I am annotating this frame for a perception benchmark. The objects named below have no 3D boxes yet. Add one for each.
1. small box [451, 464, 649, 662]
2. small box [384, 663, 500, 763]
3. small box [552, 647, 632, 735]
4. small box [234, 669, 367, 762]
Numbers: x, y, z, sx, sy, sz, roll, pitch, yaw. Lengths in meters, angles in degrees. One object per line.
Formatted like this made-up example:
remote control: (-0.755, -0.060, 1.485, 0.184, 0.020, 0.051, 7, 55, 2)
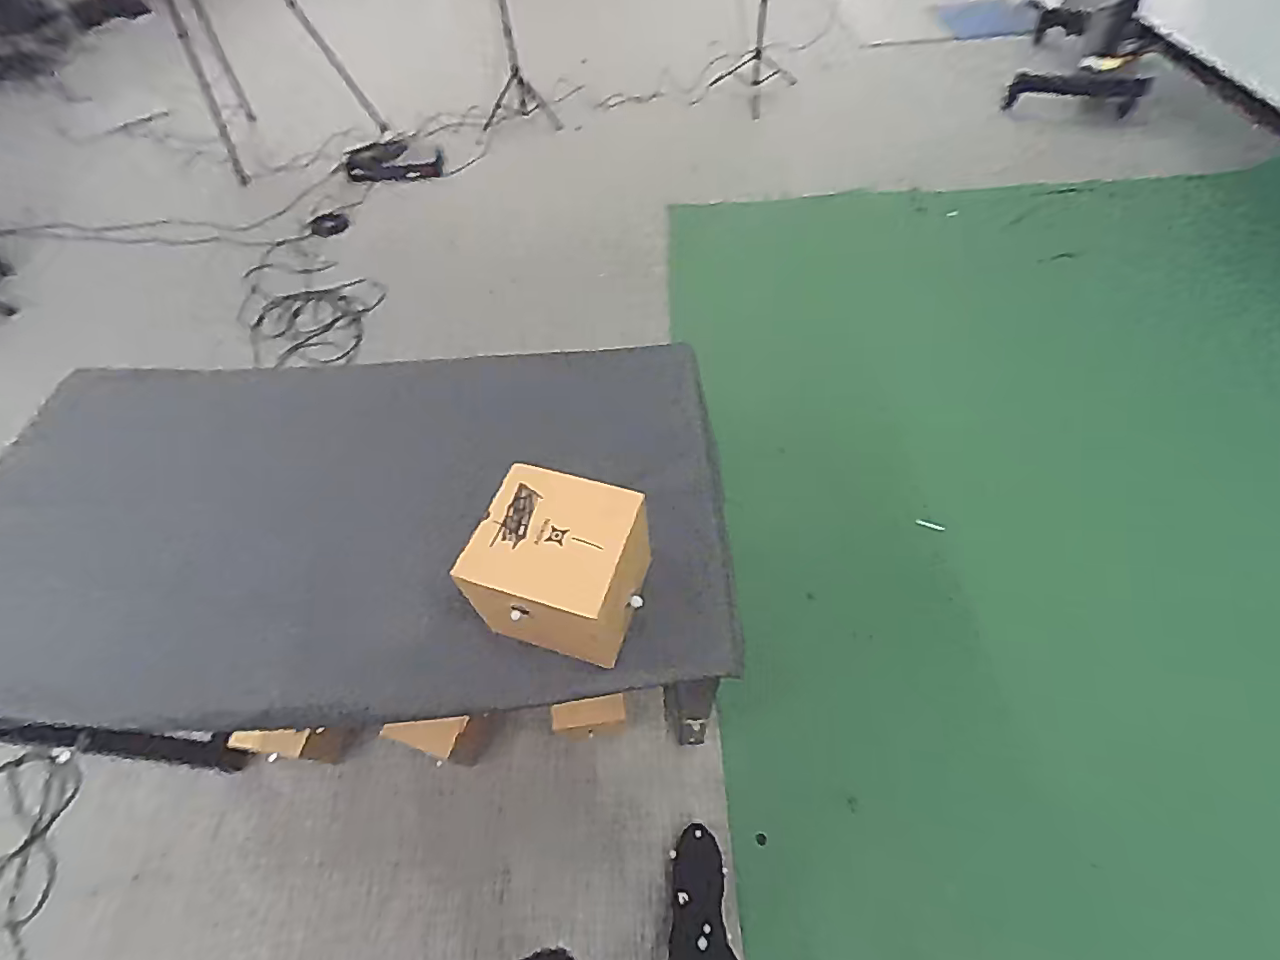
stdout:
small box: (-0.096, 0.108, 0.679, 0.179, 0.176, 0.168, 13, 57, 13)
small box: (-0.458, 0.559, 1.287, 0.179, 0.176, 0.168, 13, 58, 13)
small box: (-0.113, 0.504, 1.297, 0.168, 0.176, 0.179, -8, 57, -2)
small box: (-0.805, 0.571, 1.302, 0.179, 0.176, 0.168, 6, 58, 9)
